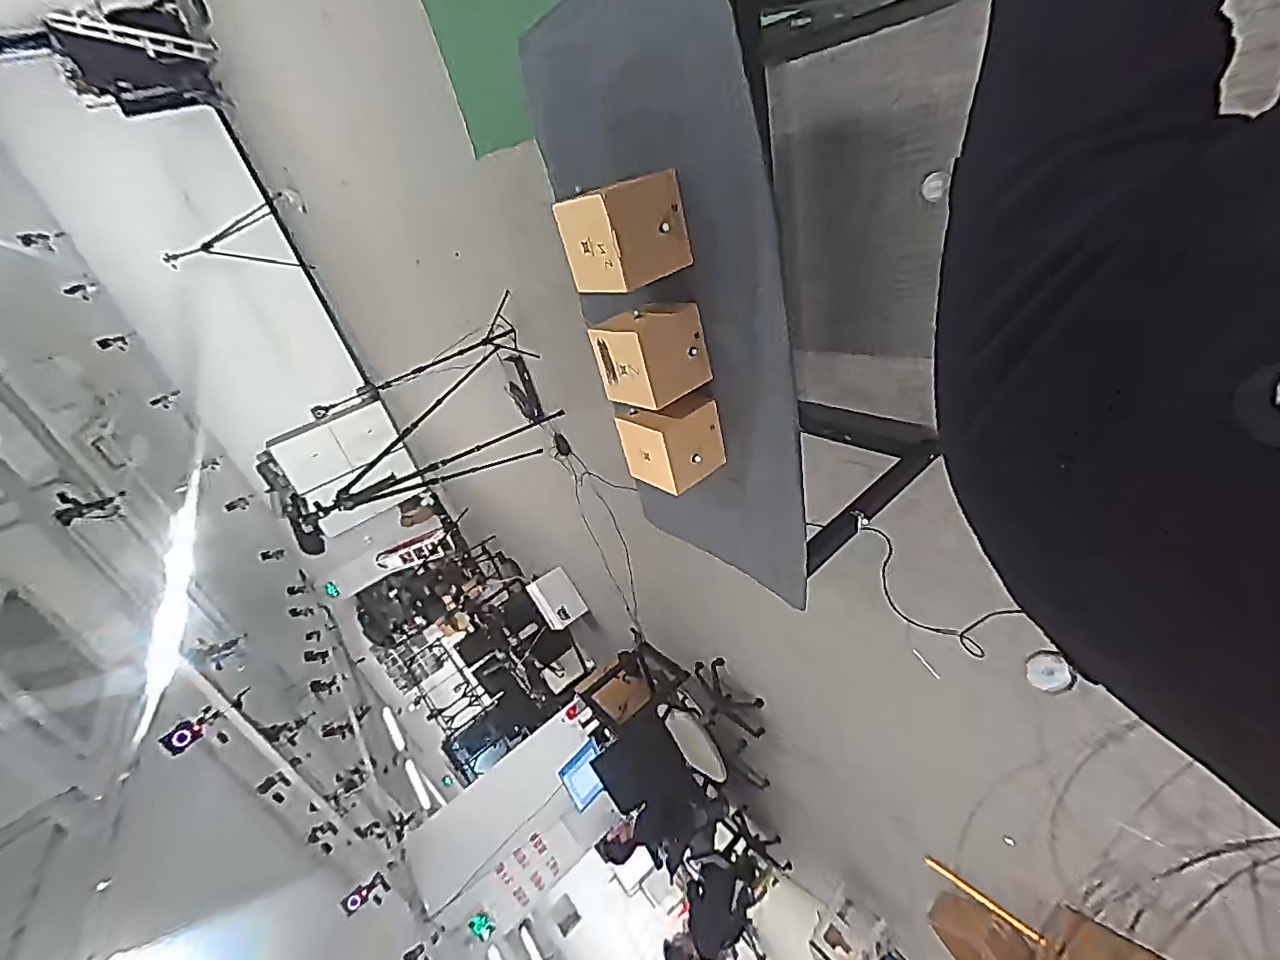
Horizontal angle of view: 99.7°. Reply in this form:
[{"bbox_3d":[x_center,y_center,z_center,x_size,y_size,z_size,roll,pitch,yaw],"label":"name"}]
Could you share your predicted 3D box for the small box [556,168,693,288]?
[{"bbox_3d":[-0.026,-0.473,1.025,0.179,0.176,0.168,23,139,48],"label":"small box"}]
